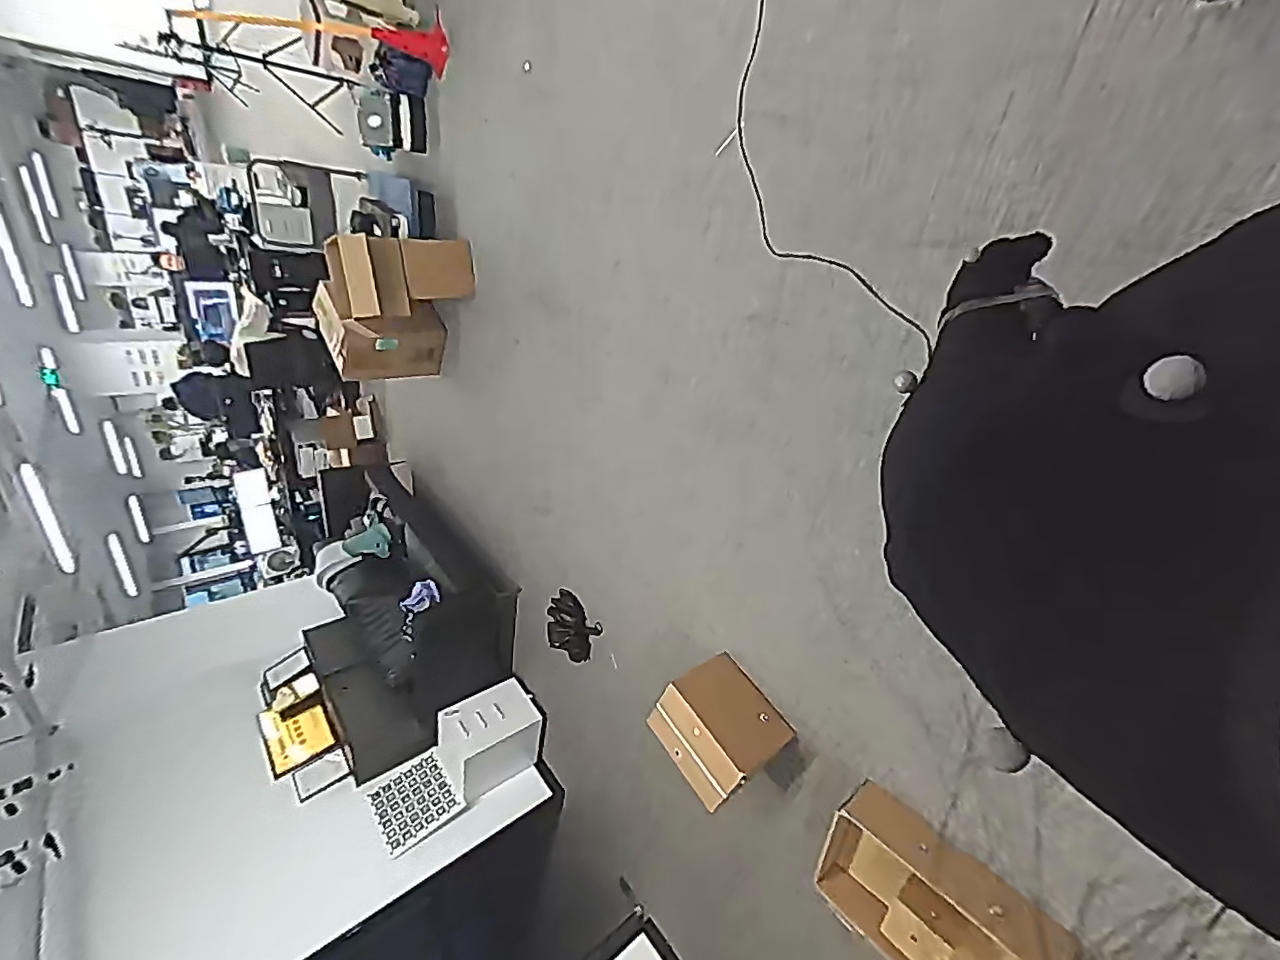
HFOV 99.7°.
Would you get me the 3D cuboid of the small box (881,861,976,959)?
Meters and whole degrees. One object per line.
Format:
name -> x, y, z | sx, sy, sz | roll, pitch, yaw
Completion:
small box -> 0.857, 1.293, 1.601 | 0.179, 0.176, 0.168 | 30, 123, 43
